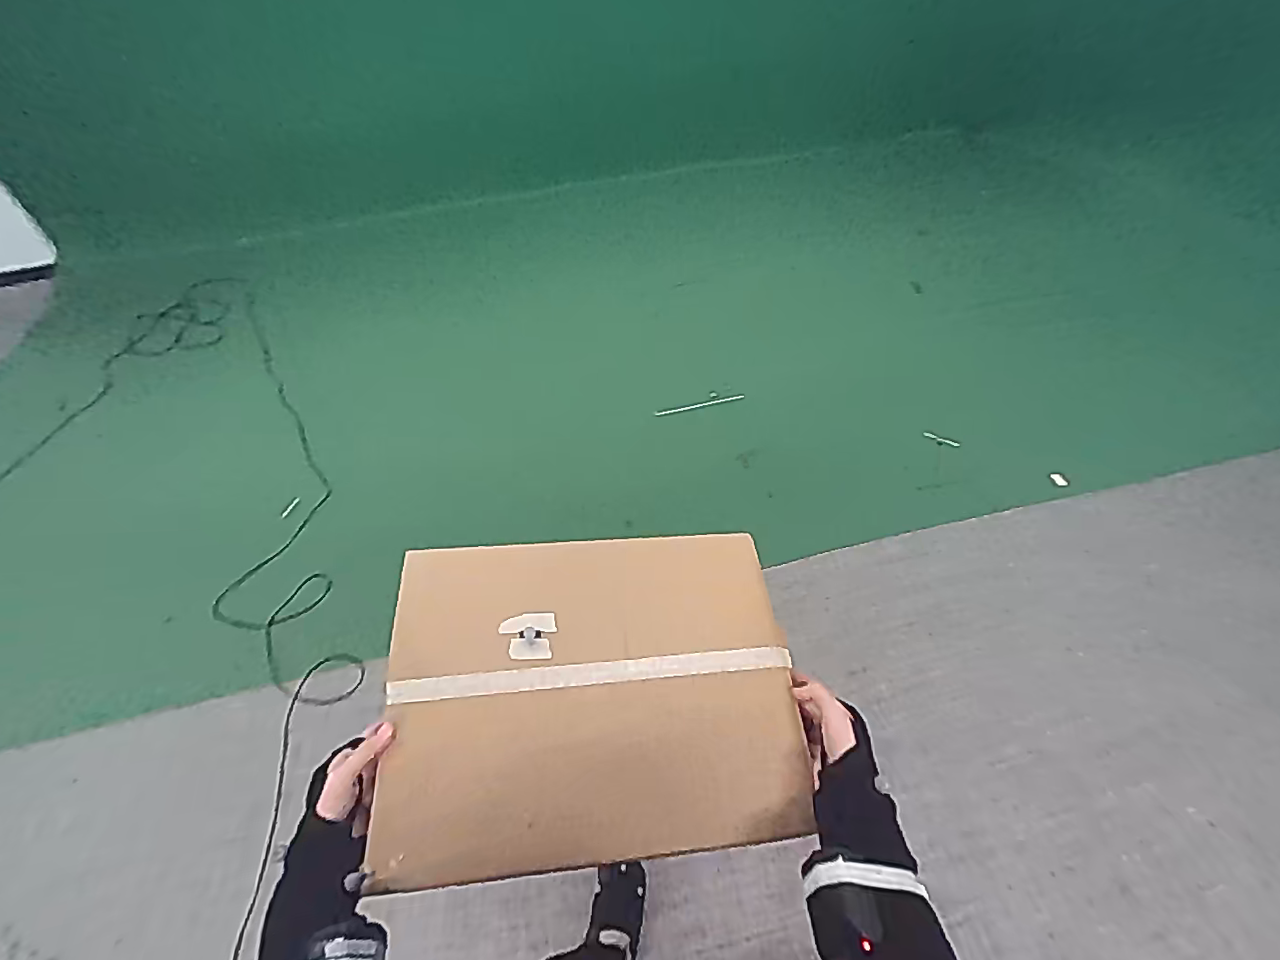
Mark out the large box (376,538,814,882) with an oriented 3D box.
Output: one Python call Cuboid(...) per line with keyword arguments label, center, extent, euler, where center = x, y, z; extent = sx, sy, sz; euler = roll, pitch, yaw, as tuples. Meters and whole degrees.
Cuboid(label="large box", center=(-0.056, 0.288, 0.689), extent=(0.408, 0.320, 0.320), euler=(-1, 56, -7))
